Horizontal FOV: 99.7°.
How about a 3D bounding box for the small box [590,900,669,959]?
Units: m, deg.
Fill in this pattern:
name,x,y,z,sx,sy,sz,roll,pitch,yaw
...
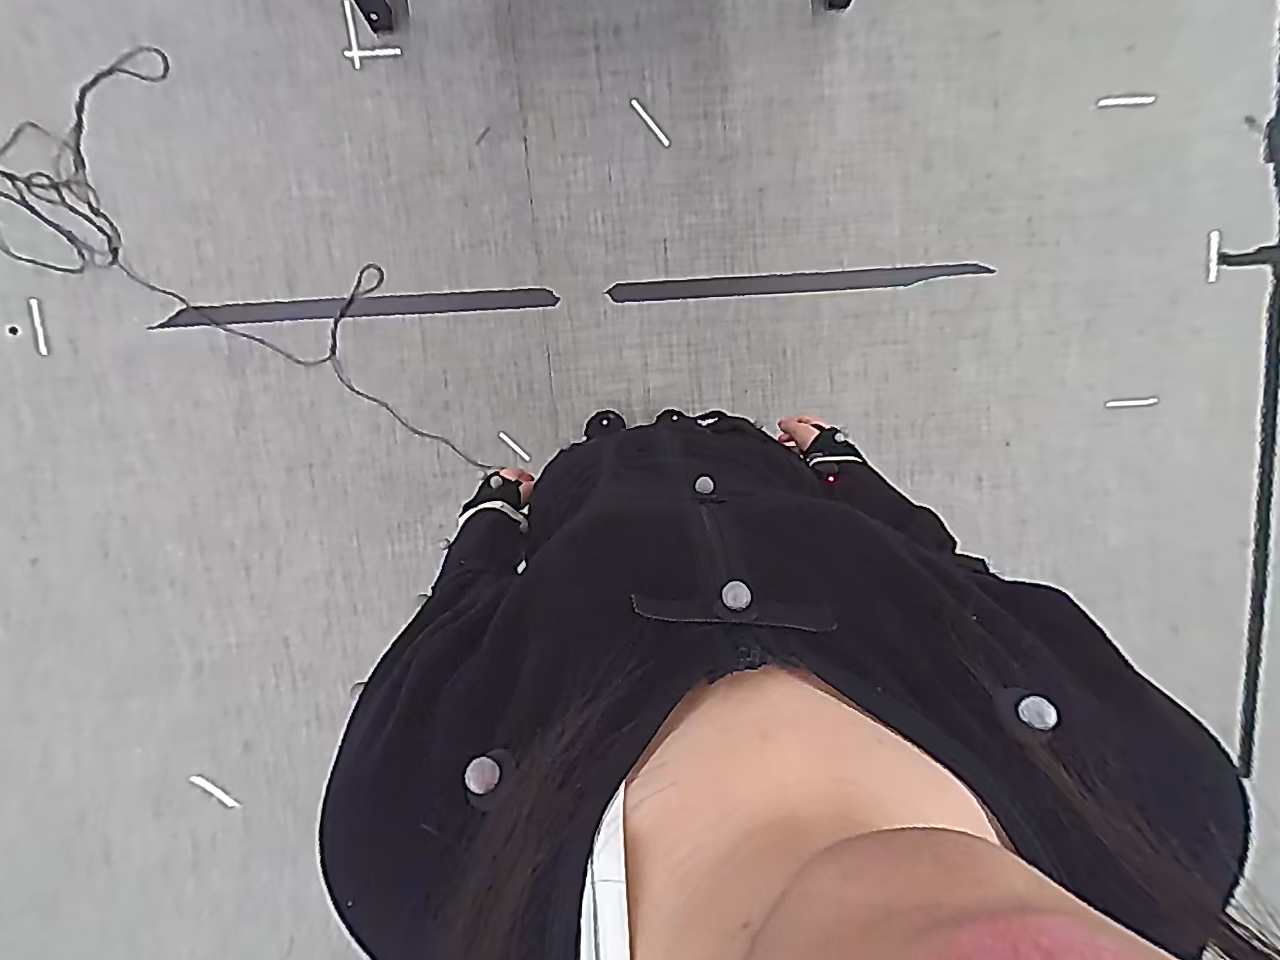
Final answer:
name,x,y,z,sx,sy,sz,roll,pitch,yaw
small box,-0.022,1.111,1.243,0.179,0.176,0.168,-6,95,-2
